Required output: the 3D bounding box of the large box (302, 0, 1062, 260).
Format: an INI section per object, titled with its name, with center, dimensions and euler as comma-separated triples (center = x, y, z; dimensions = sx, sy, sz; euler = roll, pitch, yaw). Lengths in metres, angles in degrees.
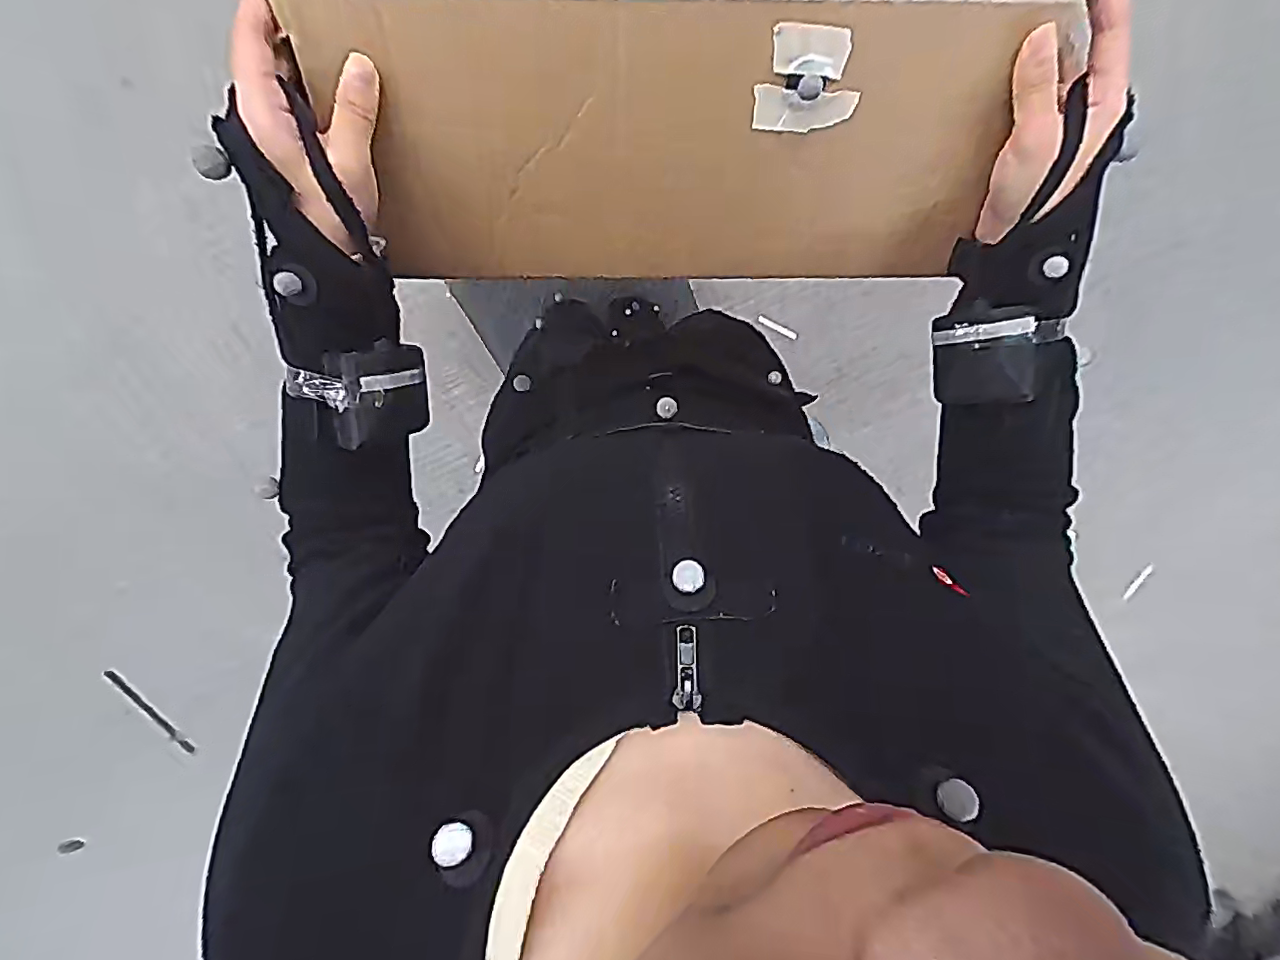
[large box]
center = 0.018, -0.368, 0.373
dimensions = 0.408, 0.320, 0.320
euler = -1, 136, -4
